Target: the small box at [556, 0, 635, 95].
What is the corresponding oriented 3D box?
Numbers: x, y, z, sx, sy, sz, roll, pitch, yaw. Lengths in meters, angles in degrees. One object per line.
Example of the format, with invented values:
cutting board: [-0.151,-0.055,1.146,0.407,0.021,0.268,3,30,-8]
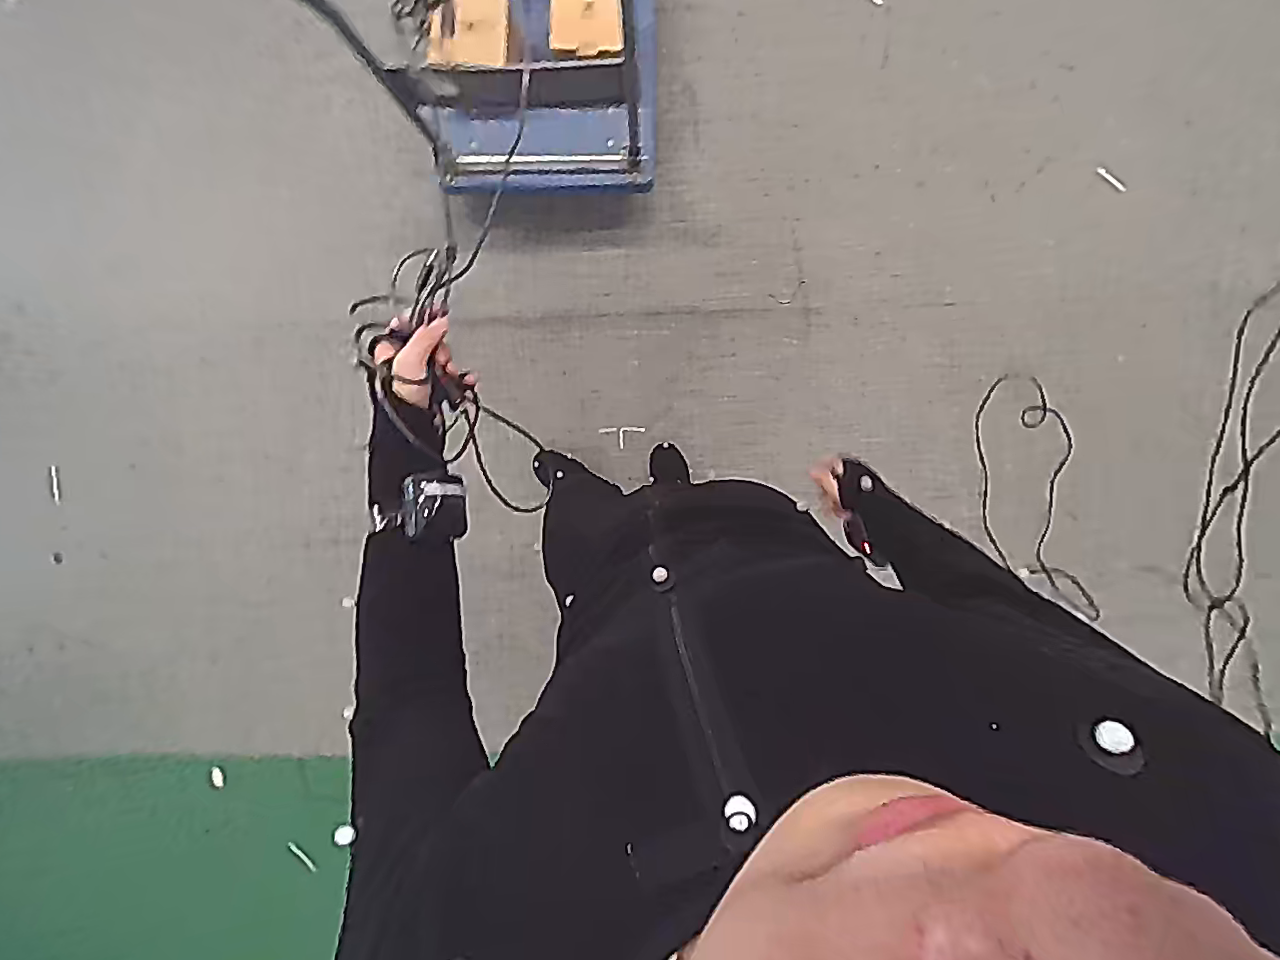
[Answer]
small box: [-0.099,-1.053,1.275,0.168,0.176,0.179,3,96,2]
